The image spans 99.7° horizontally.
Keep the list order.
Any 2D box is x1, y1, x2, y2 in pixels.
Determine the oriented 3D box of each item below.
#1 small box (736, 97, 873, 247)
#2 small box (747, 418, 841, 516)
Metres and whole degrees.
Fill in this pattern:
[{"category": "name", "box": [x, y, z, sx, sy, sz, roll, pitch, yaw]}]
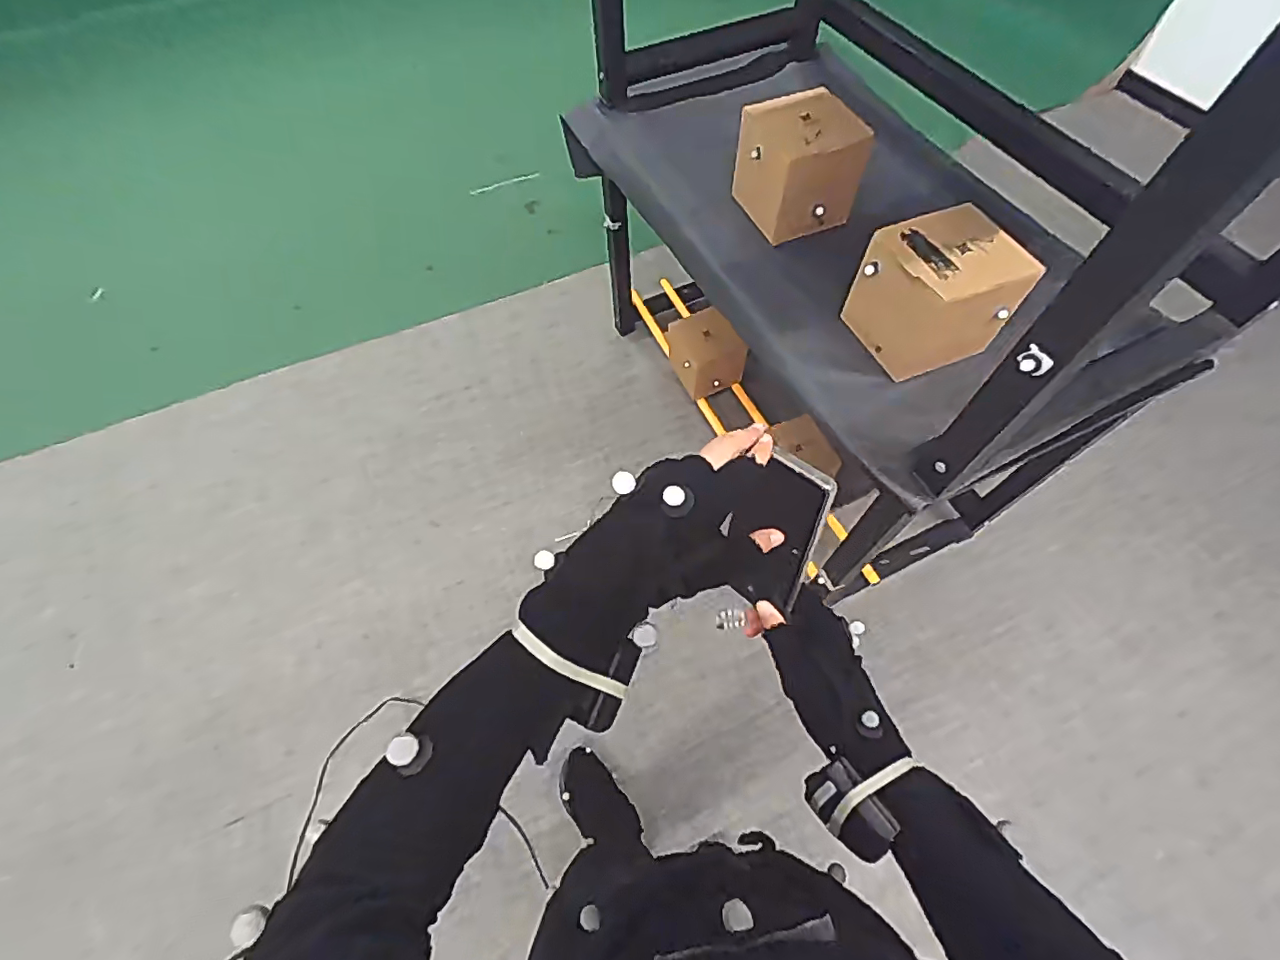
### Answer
[{"category": "small box", "box": [0.295, -0.575, 1.018, 0.168, 0.176, 0.179, -20, 62, -9]}, {"category": "small box", "box": [0.393, -0.027, 1.422, 0.179, 0.176, 0.168, -20, 62, -9]}]
